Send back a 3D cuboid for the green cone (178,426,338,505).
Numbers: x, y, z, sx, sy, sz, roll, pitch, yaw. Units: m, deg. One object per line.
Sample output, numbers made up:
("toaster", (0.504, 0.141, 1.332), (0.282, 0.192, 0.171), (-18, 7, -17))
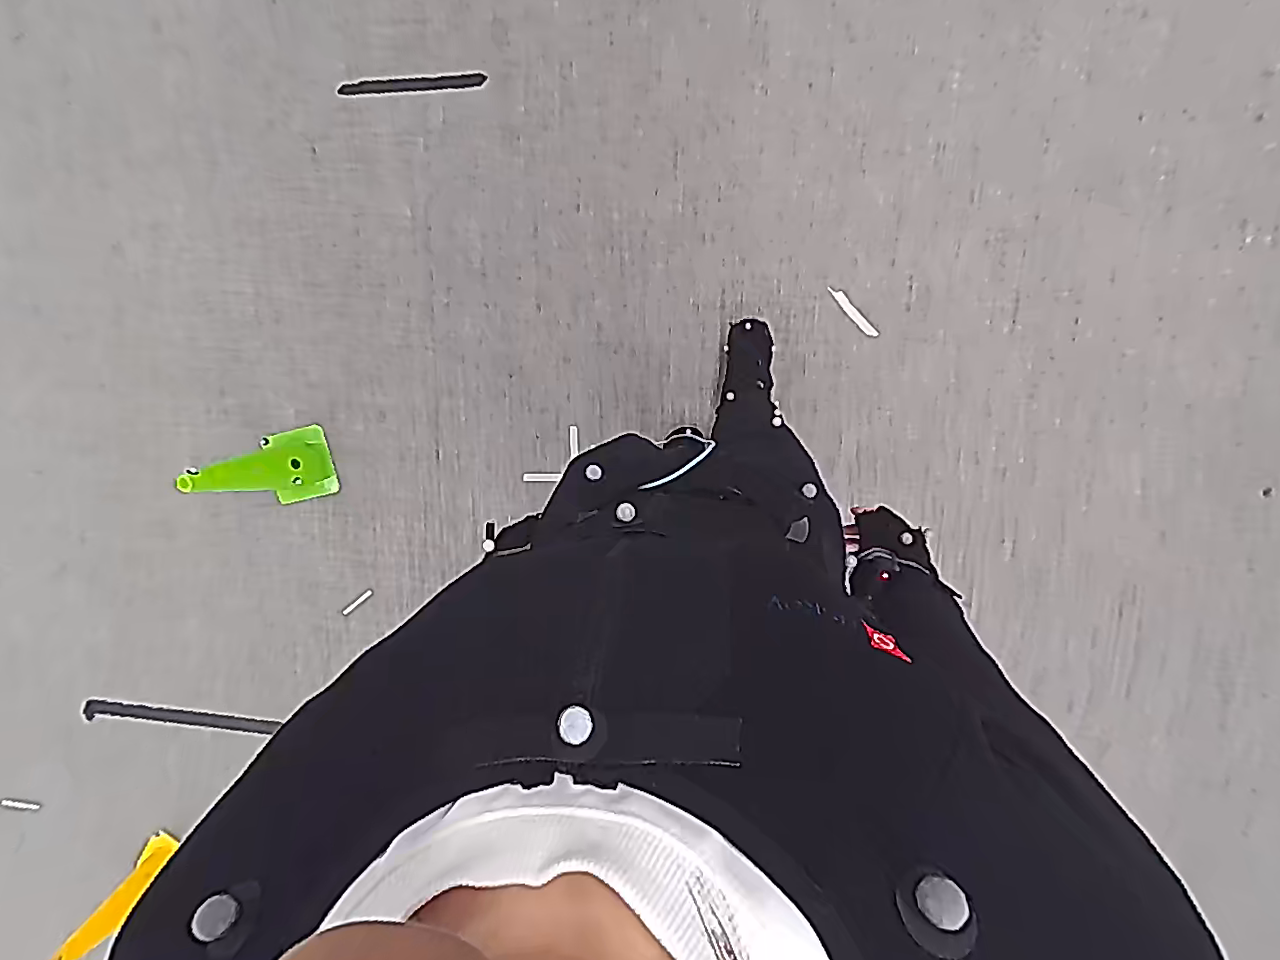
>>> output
("green cone", (-0.992, -0.013, 1.376), (0.202, 0.368, 0.200), (-13, 97, 8))
